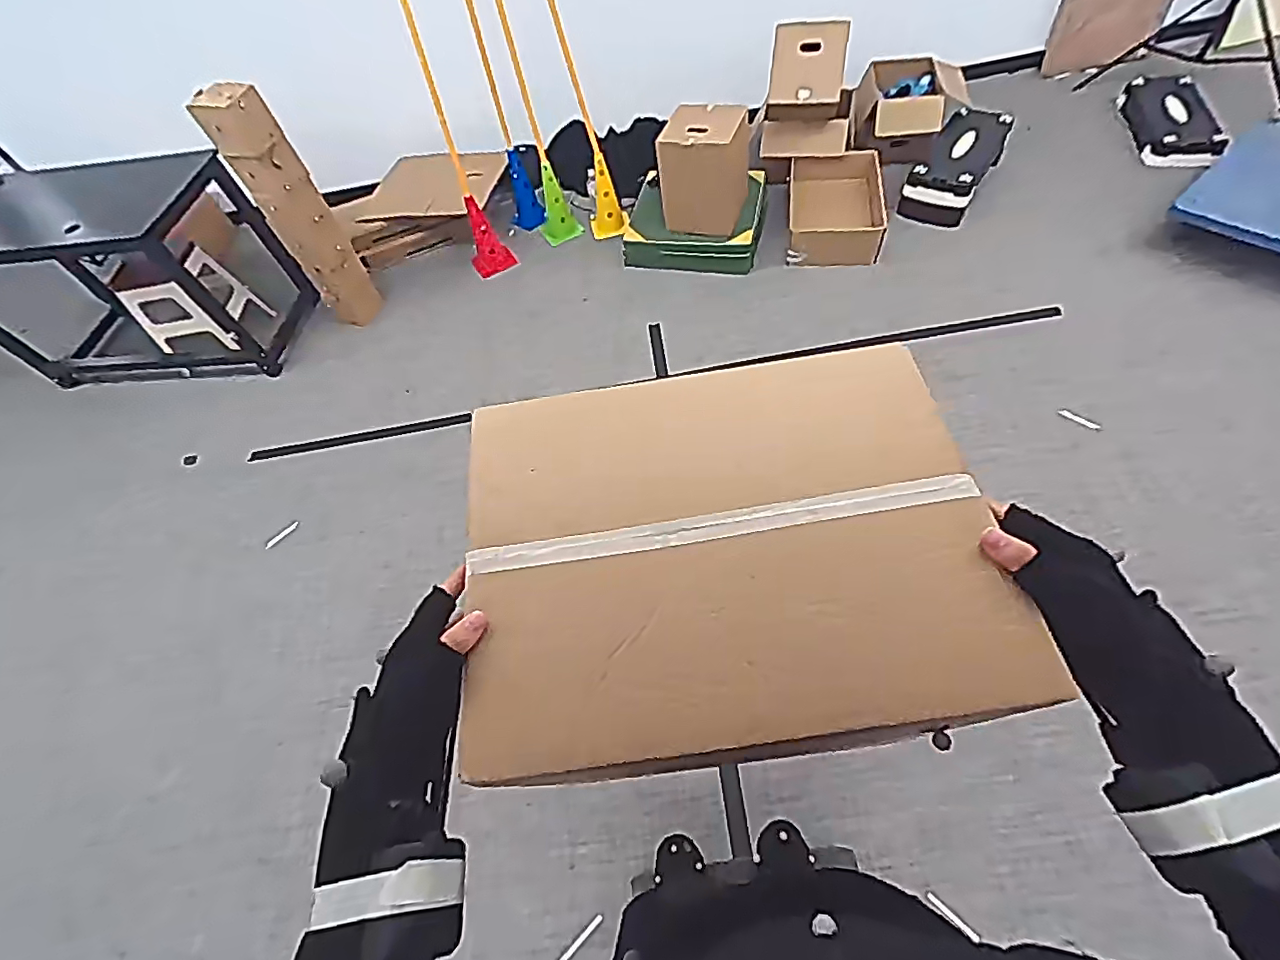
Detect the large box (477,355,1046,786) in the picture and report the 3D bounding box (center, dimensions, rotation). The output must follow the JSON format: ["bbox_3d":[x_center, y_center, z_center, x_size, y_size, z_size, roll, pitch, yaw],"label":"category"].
[{"bbox_3d":[0.079,0.116,0.570,0.408,0.320,0.320,-9,60,2],"label":"large box"}]

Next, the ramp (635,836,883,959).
[{"bbox_3d":[0.295,1.274,1.004,0.509,0.206,0.991,-10,57,1],"label":"ramp"}]
